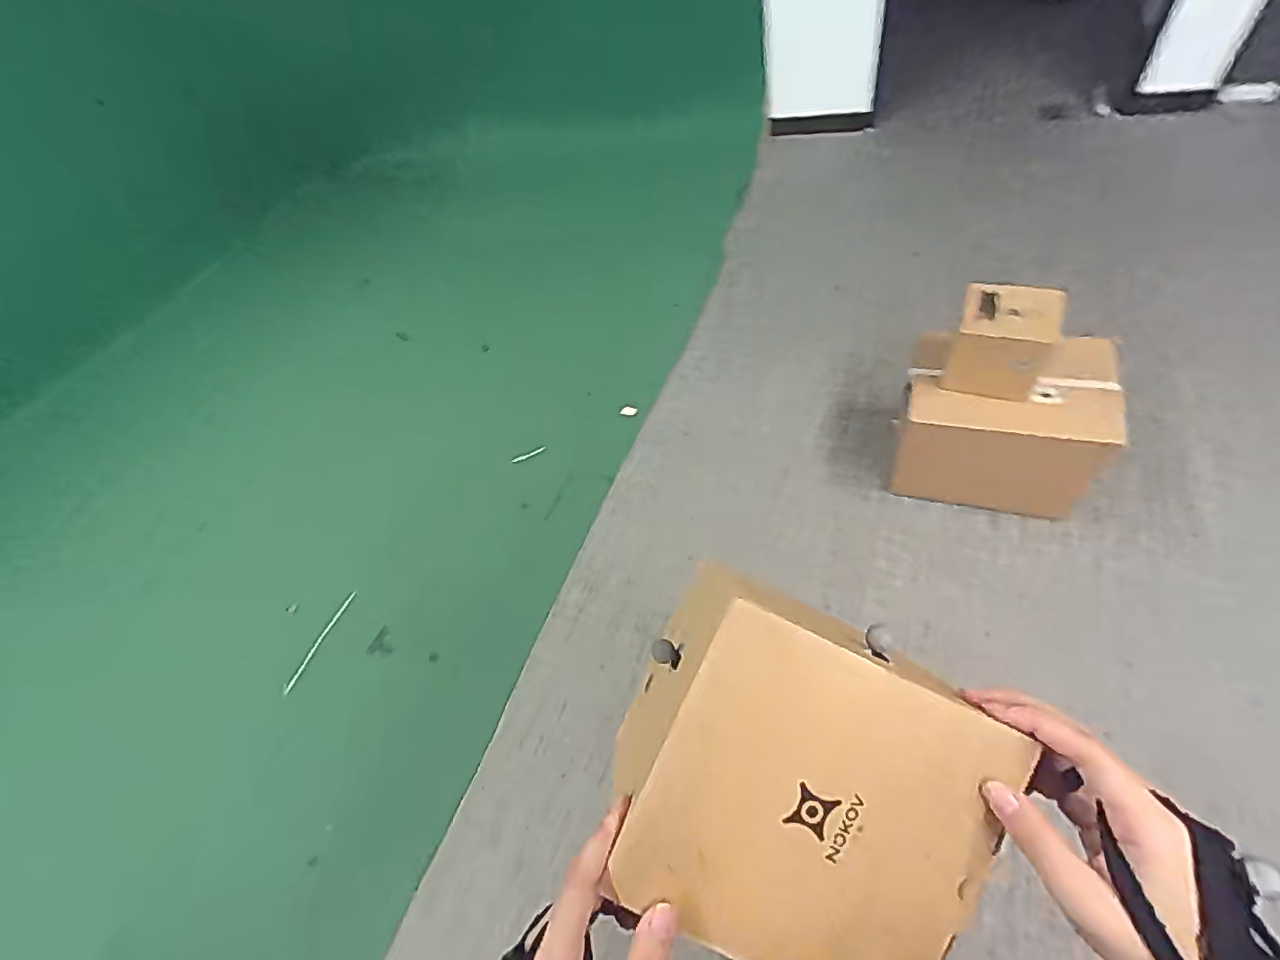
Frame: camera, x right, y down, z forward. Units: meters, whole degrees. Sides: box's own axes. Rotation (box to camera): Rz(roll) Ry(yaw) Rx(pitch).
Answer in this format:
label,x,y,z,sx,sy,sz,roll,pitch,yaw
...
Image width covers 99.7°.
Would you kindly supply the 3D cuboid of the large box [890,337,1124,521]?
label,x,y,z,sx,sy,sz,roll,pitch,yaw
large box,0.871,-0.130,1.351,0.408,0.320,0.320,10,59,20
